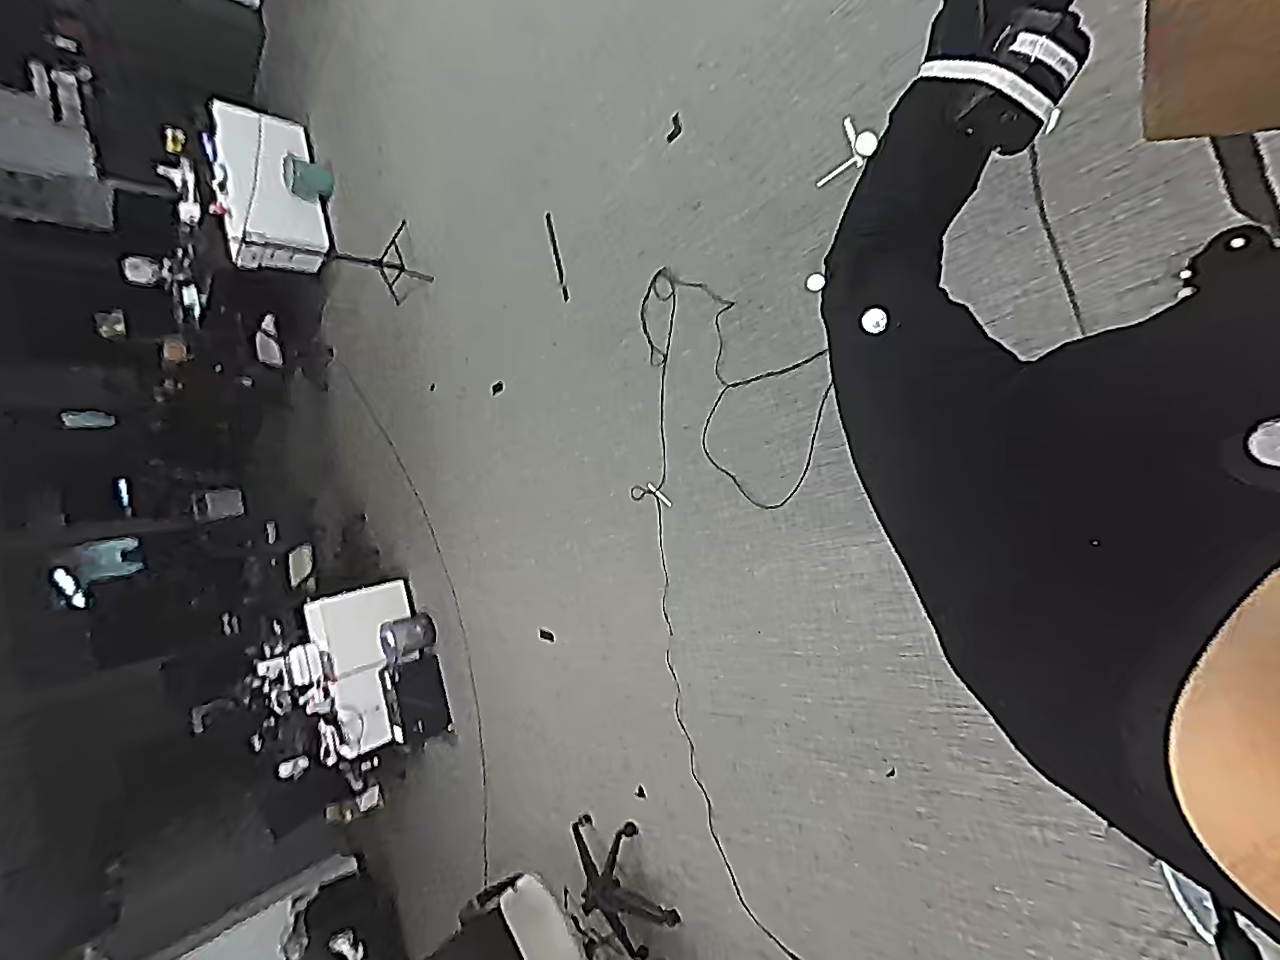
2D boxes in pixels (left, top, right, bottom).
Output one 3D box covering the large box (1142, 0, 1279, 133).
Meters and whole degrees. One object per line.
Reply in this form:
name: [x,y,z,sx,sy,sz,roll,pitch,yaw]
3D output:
large box: [0.552,-0.416,0.261,0.408,0.320,0.320,17,112,38]
